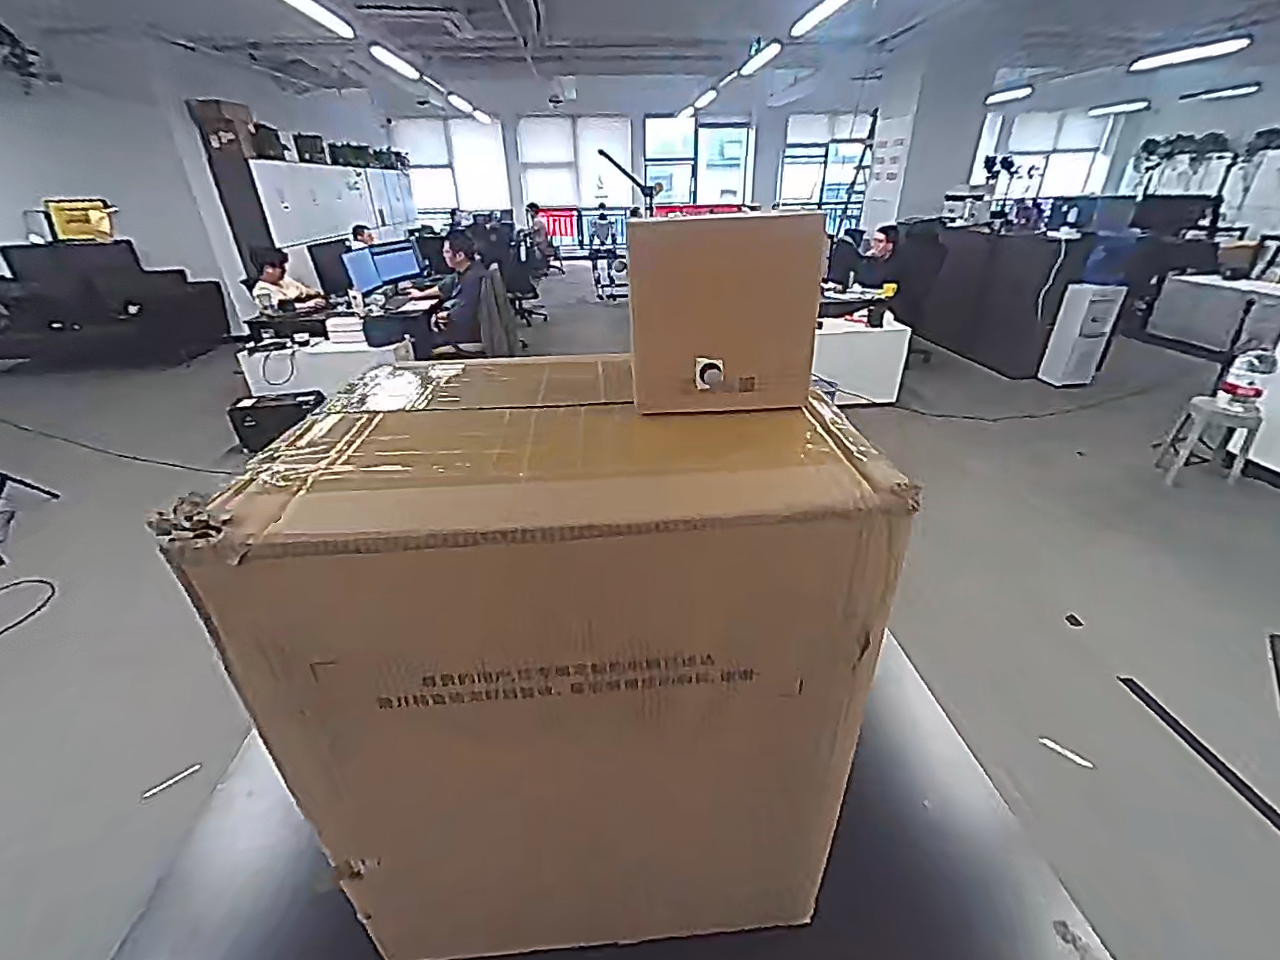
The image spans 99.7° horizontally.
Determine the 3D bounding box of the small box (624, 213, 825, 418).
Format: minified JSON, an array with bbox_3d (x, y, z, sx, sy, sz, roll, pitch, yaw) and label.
[{"bbox_3d":[0.070,-0.171,0.546,0.168,0.176,0.179,-5,28,0],"label":"small box"}]
